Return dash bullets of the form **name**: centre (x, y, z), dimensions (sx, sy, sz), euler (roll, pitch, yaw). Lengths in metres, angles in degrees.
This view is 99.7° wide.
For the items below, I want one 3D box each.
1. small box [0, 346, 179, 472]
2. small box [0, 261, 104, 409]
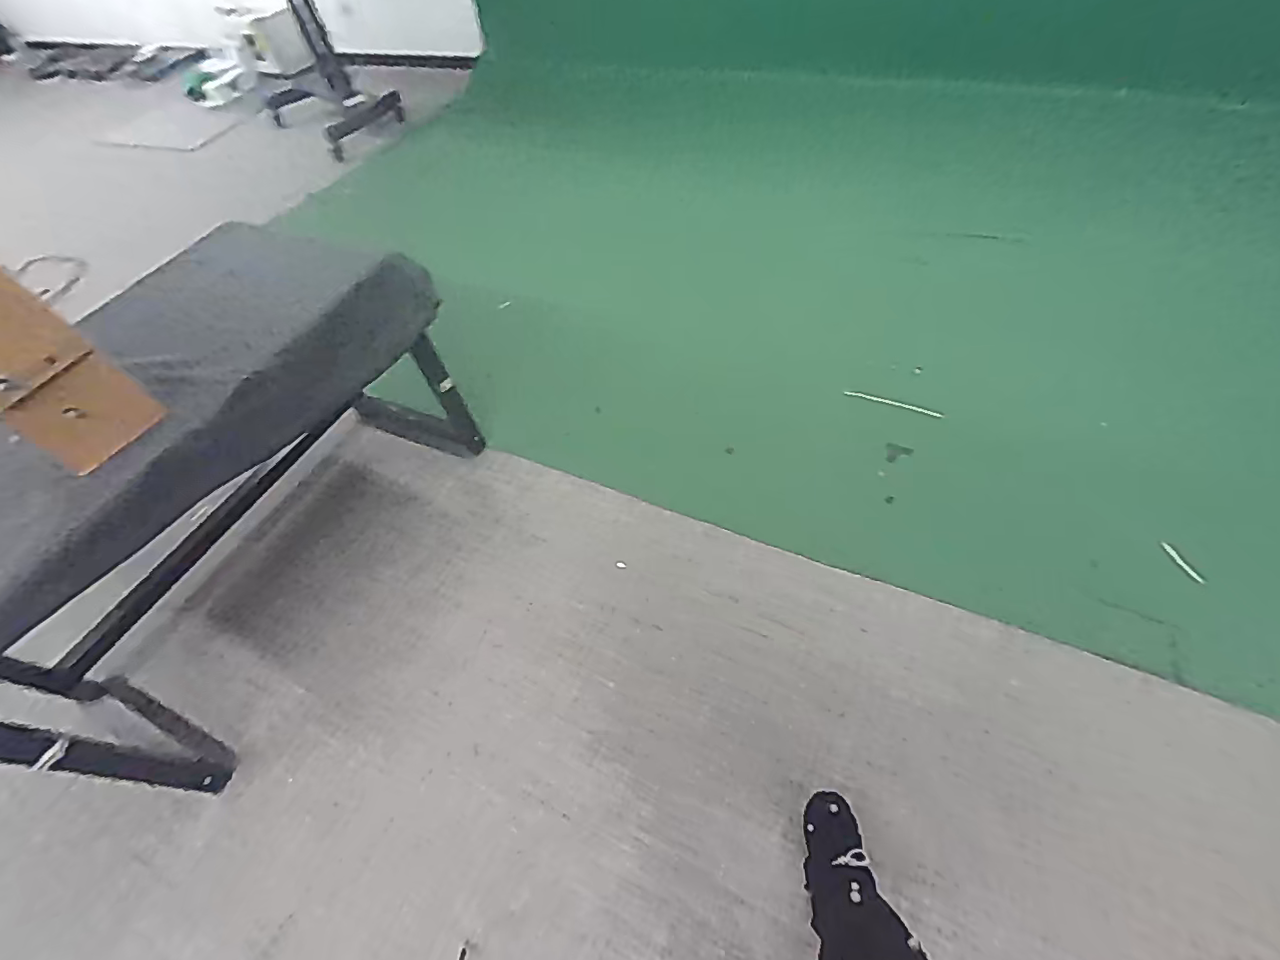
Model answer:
- **small box**: centre (-1.023, -0.143, 0.995), dimensions (0.168, 0.176, 0.179), euler (19, 59, 23)
- **small box**: centre (-1.031, -0.234, 0.856), dimensions (0.179, 0.176, 0.168), euler (16, 58, 18)
